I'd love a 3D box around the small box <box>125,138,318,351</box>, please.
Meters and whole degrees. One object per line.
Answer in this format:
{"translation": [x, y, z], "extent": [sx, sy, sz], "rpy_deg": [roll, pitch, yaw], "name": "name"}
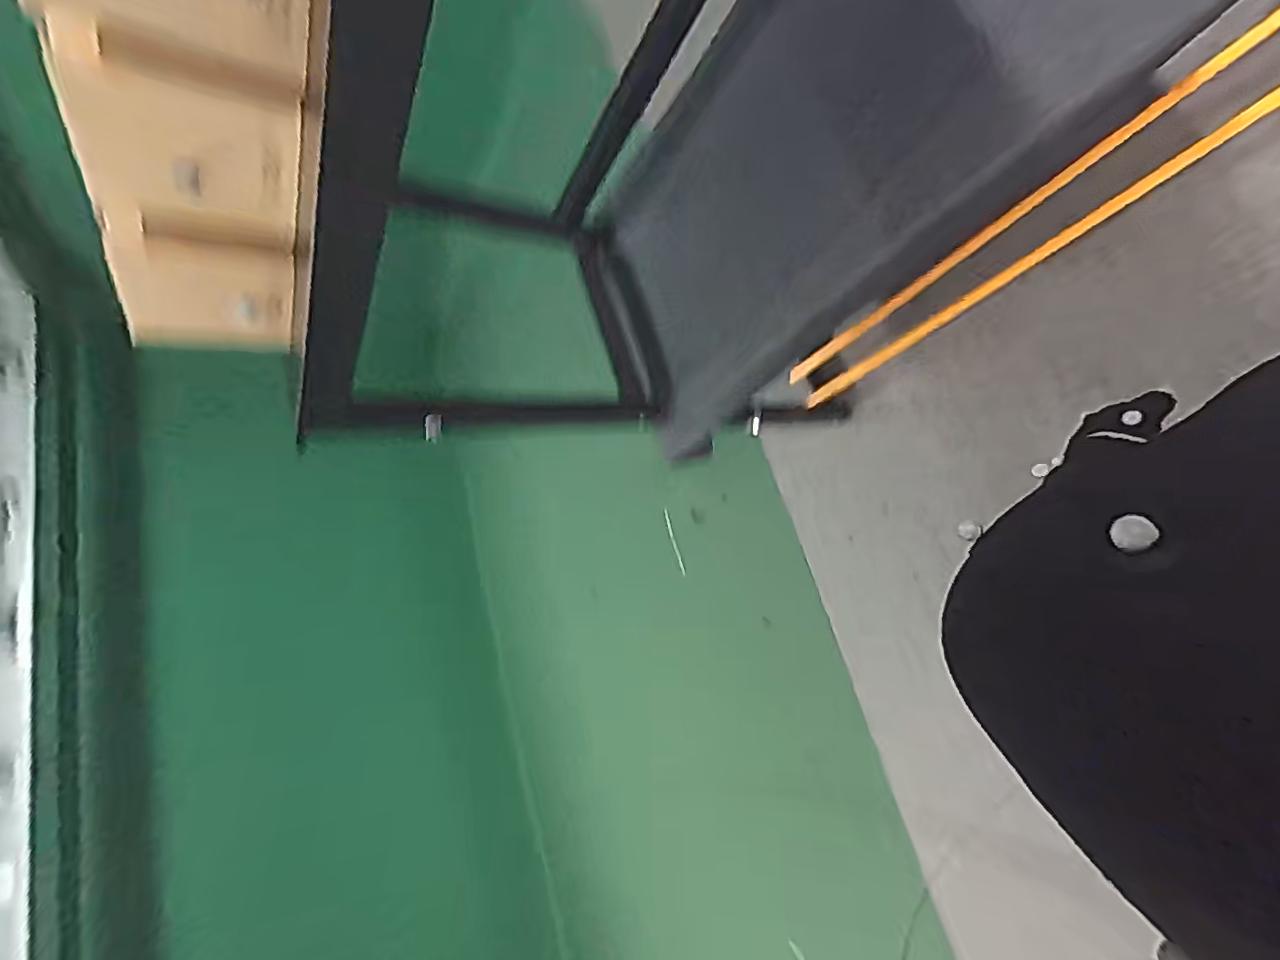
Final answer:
{"translation": [-0.525, -0.281, 0.689], "extent": [0.168, 0.176, 0.179], "rpy_deg": [-37, 66, 50], "name": "small box"}
